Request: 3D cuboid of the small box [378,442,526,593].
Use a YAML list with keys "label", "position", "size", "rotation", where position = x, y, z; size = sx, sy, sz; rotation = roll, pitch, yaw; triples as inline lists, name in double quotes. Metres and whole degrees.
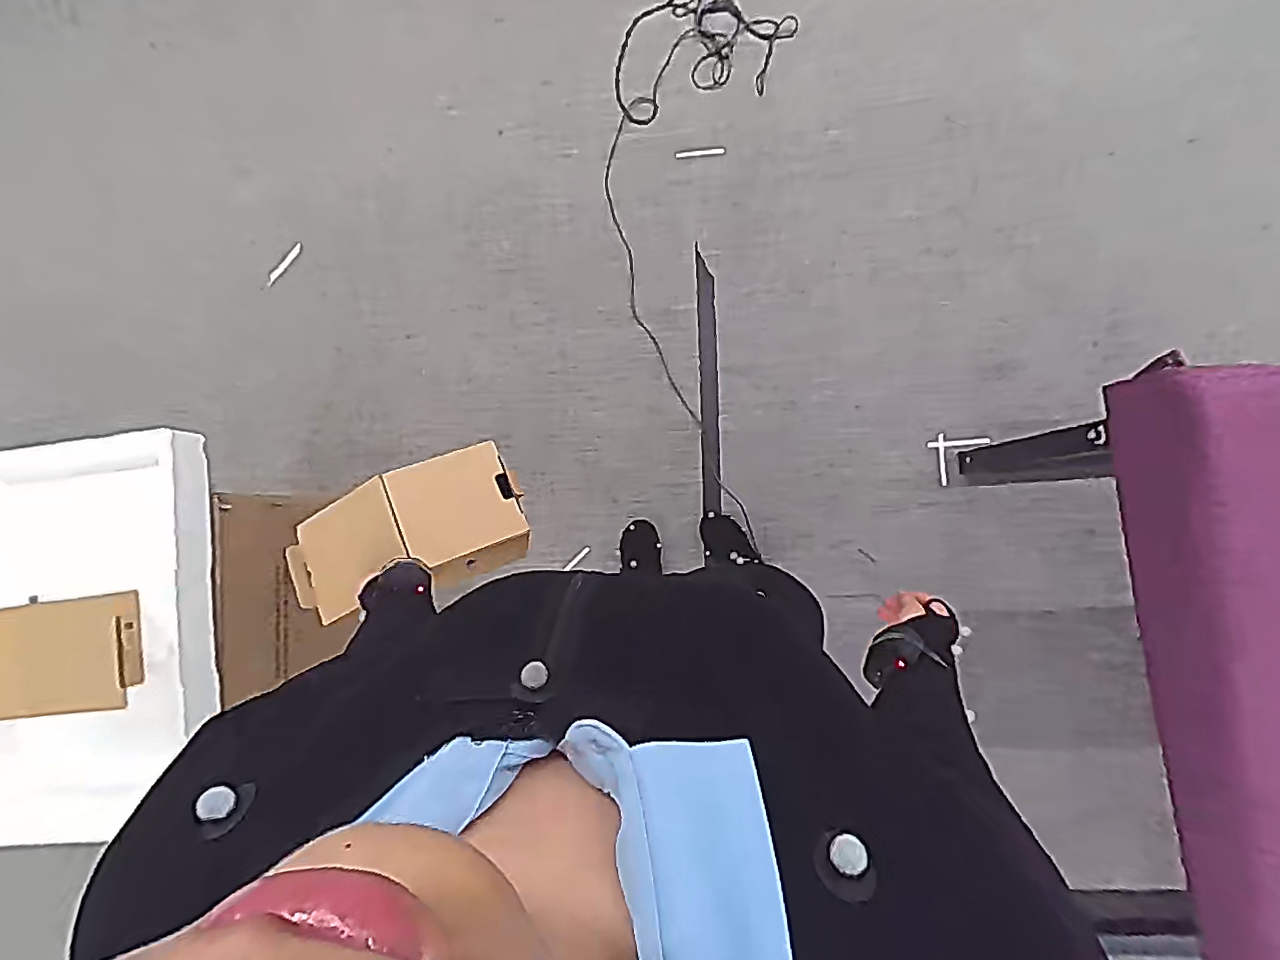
- label: "small box"
  position: [-0.293, 0.067, 0.872]
  size: [0.179, 0.176, 0.168]
  rotation: [-20, 74, -20]
